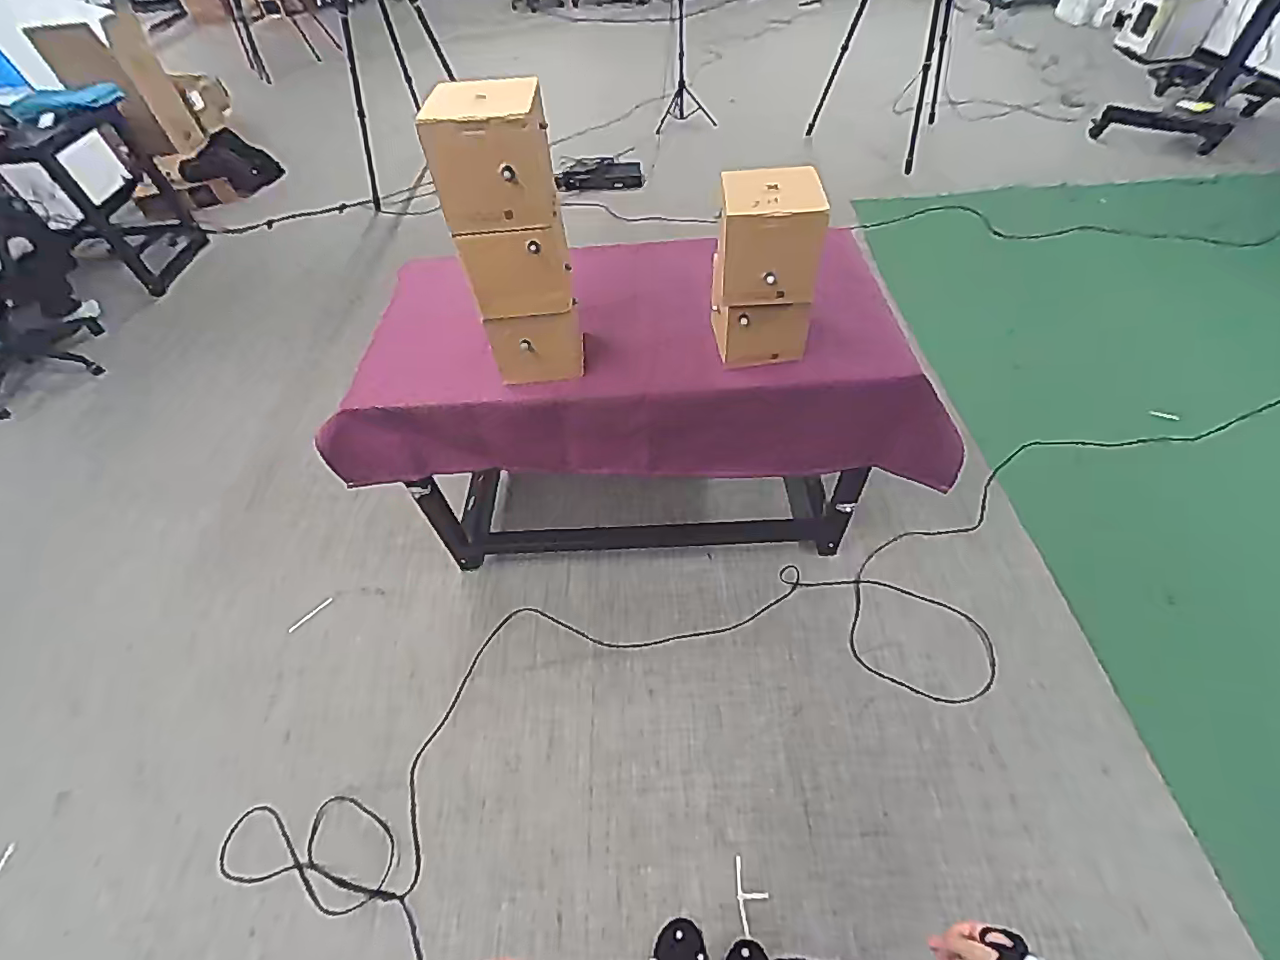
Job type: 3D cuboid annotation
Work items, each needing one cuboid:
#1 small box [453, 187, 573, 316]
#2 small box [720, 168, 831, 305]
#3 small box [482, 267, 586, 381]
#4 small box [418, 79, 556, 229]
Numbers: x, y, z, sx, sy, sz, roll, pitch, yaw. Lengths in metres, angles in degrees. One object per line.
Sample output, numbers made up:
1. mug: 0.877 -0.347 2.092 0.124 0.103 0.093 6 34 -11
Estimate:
1. small box: -0.227 -0.423 1.011 0.179 0.176 0.168 -5 50 0
2. small box: 0.232 -0.437 0.976 0.168 0.176 0.179 0 51 5
3. small box: -0.214 -0.325 1.141 0.179 0.176 0.168 -5 51 1
4. small box: -0.236 -0.527 0.887 0.168 0.176 0.179 -2 50 1
